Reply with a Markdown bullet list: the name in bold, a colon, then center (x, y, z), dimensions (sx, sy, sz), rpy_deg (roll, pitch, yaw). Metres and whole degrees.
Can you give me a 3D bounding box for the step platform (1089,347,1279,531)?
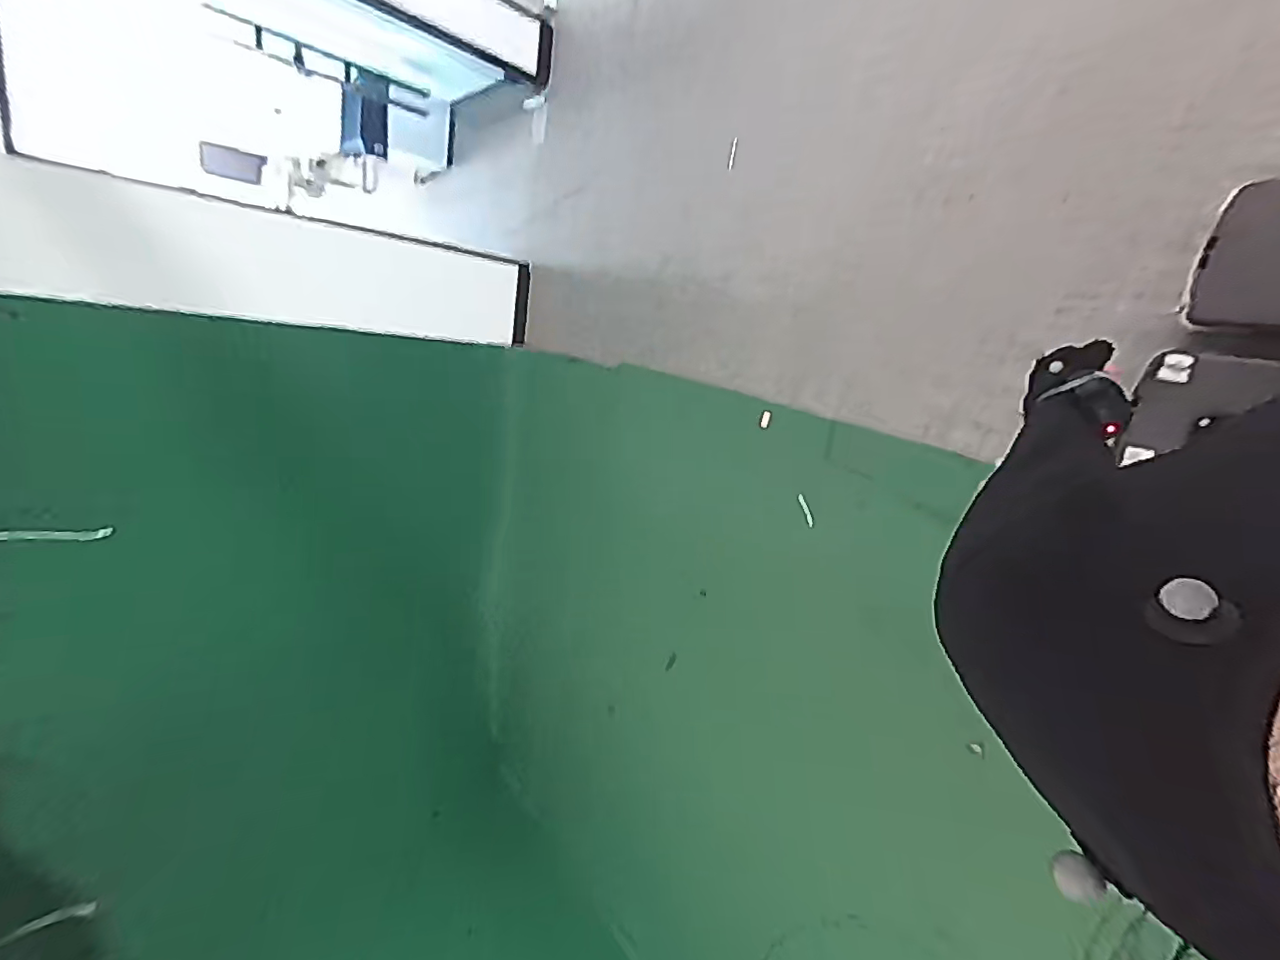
- **step platform**: center (1.169, -0.020, 0.849), dimensions (0.684, 0.204, 0.286), rpy_deg (24, 111, 43)
